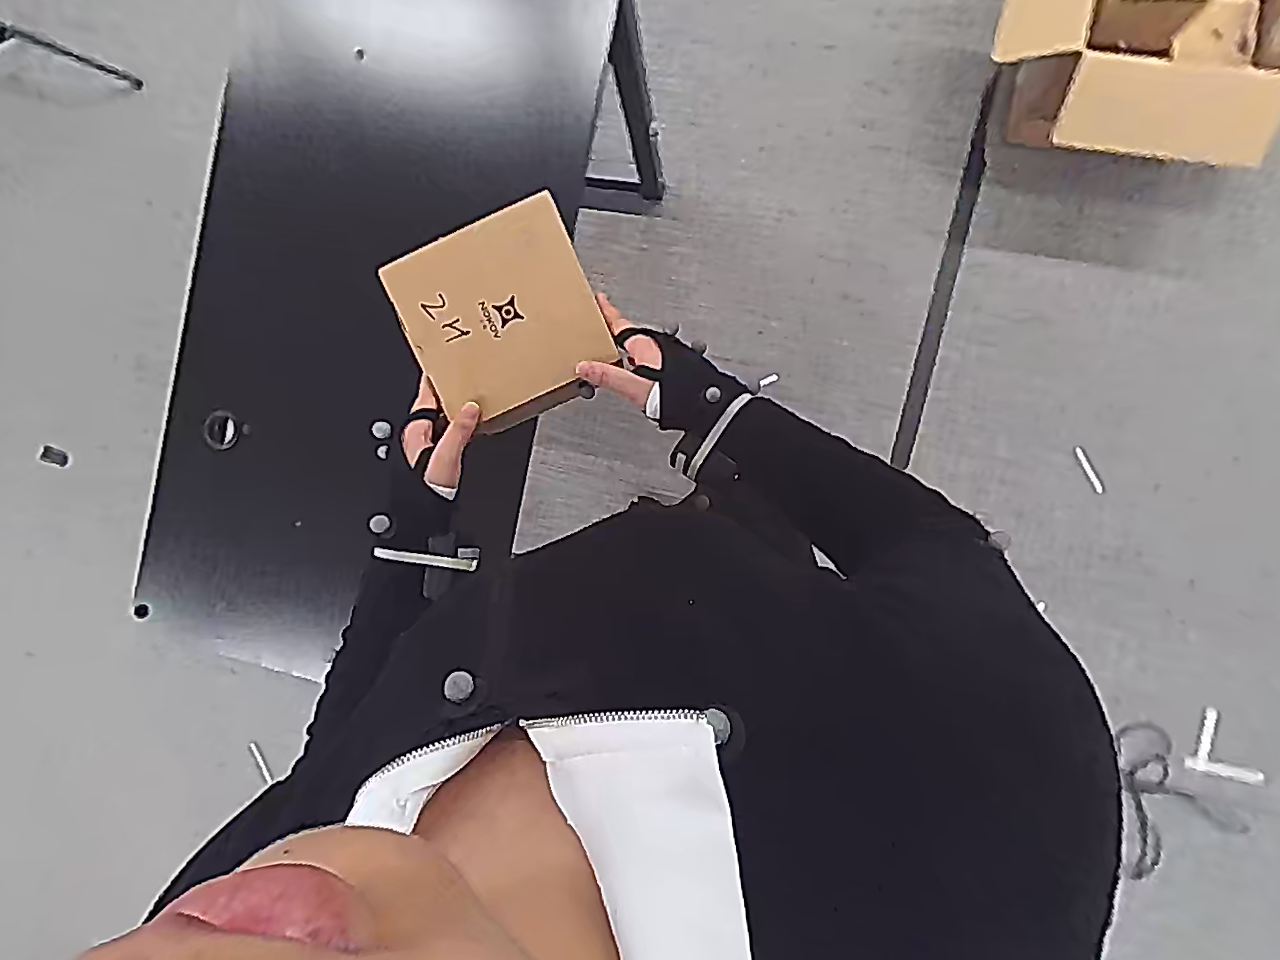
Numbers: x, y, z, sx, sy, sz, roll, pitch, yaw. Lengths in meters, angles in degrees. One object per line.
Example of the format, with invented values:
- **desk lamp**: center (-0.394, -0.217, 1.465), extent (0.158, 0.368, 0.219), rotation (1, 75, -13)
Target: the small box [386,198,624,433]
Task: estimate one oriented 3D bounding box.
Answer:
- **small box**: center (-0.125, -0.161, 0.582), extent (0.179, 0.176, 0.168), rotation (-23, 96, 4)
